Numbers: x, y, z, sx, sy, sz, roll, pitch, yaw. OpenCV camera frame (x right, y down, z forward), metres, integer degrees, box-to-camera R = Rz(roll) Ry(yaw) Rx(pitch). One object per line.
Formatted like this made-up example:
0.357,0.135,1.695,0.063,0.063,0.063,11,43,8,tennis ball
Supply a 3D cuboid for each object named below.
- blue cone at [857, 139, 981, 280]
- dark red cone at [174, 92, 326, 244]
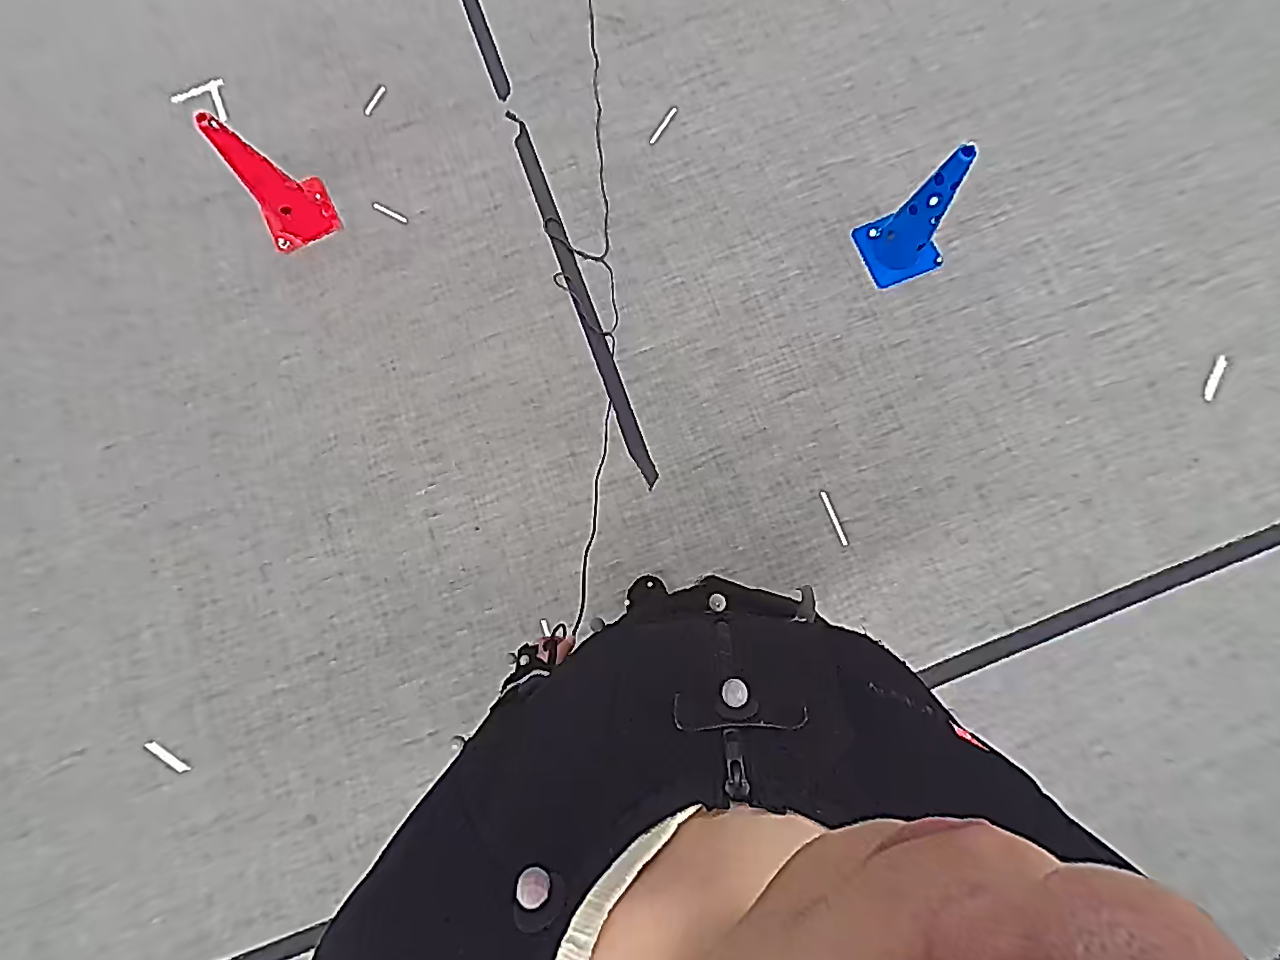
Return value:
0.718,-0.691,1.356,0.192,0.380,0.193,-20,80,-3,blue cone
-1.036,-0.828,1.417,0.201,0.394,0.202,-28,80,-4,dark red cone
